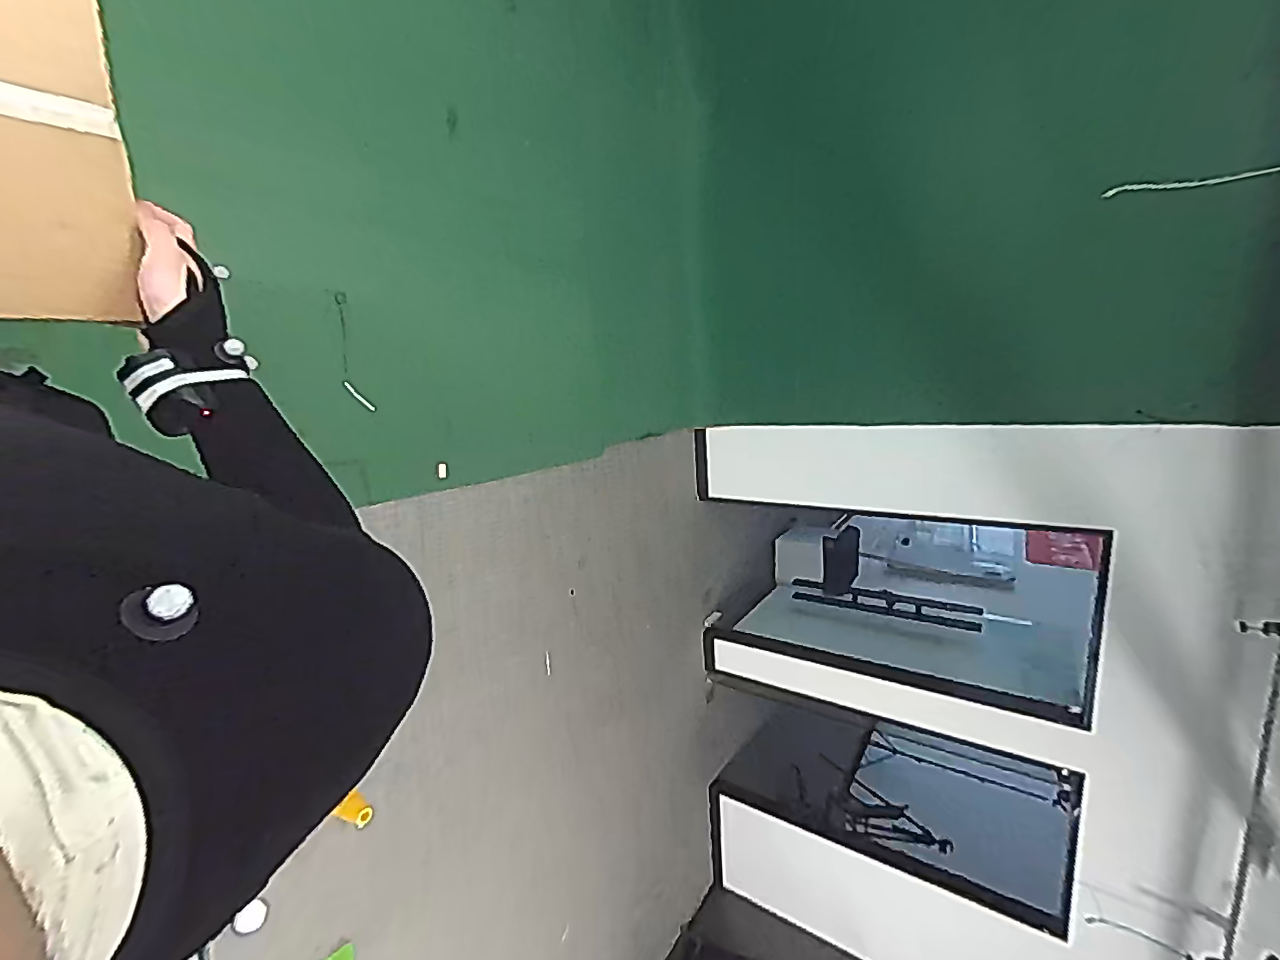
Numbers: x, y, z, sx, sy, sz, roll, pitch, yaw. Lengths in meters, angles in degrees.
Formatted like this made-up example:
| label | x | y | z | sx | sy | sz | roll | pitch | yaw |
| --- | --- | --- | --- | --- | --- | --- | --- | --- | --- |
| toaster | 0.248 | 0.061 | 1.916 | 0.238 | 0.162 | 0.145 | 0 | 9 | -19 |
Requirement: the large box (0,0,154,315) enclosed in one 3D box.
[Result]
| label | x | y | z | sx | sy | sz | roll | pitch | yaw |
| --- | --- | --- | --- | --- | --- | --- | --- | --- | --- |
| large box | -0.672 | -0.297 | 0.378 | 0.408 | 0.320 | 0.320 | -19 | 124 | -50 |
